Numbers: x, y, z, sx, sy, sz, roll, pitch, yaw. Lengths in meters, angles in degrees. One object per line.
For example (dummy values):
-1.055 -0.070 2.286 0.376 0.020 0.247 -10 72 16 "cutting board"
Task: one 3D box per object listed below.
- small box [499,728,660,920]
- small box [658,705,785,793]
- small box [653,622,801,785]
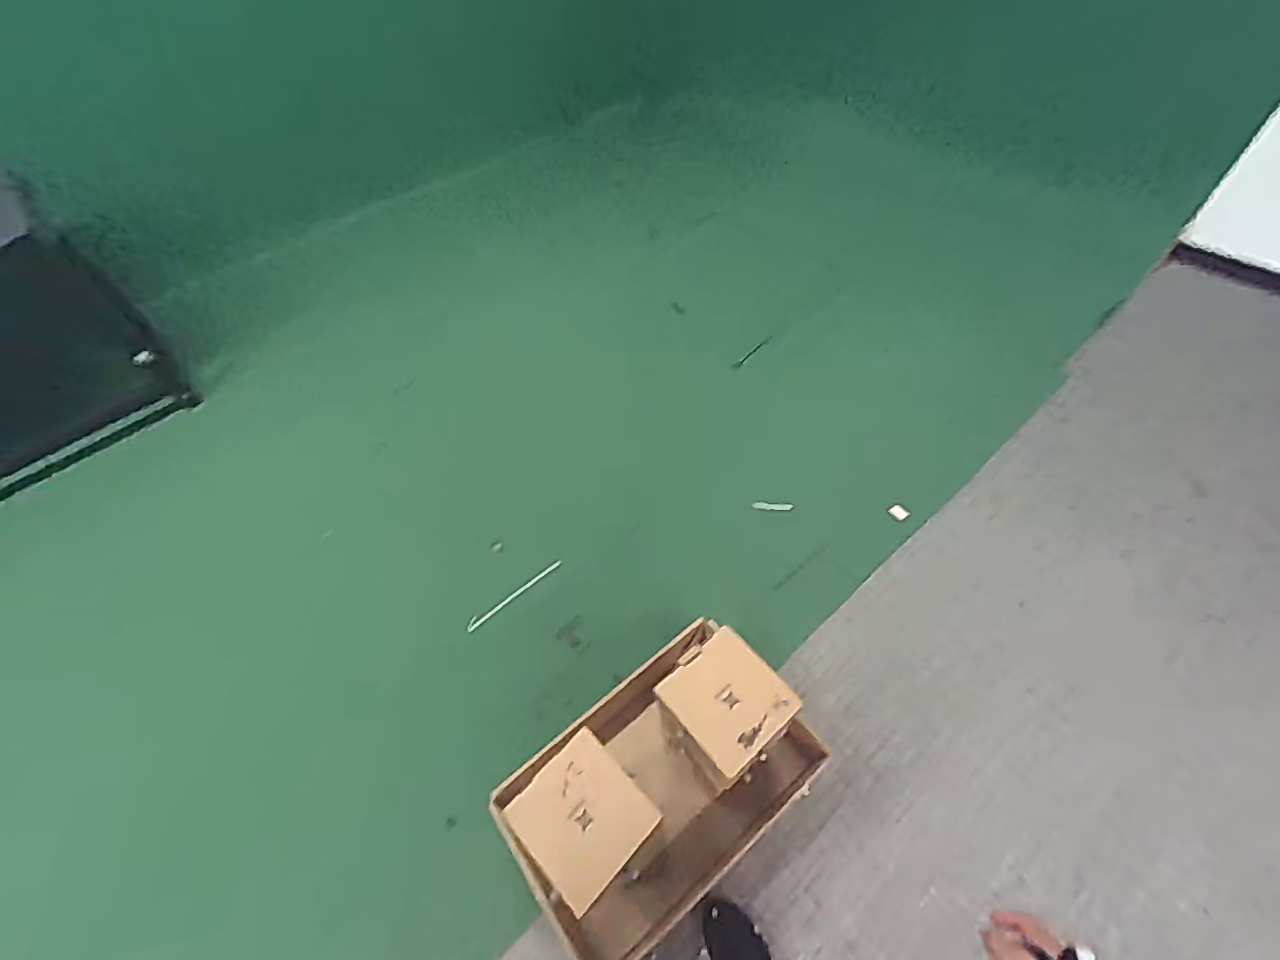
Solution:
-0.084 0.523 0.834 0.179 0.176 0.168 38 63 26 "small box"
0.151 0.478 1.053 0.168 0.176 0.179 -34 61 -17 "small box"
0.140 0.383 0.918 0.168 0.176 0.179 -36 59 -19 "small box"
